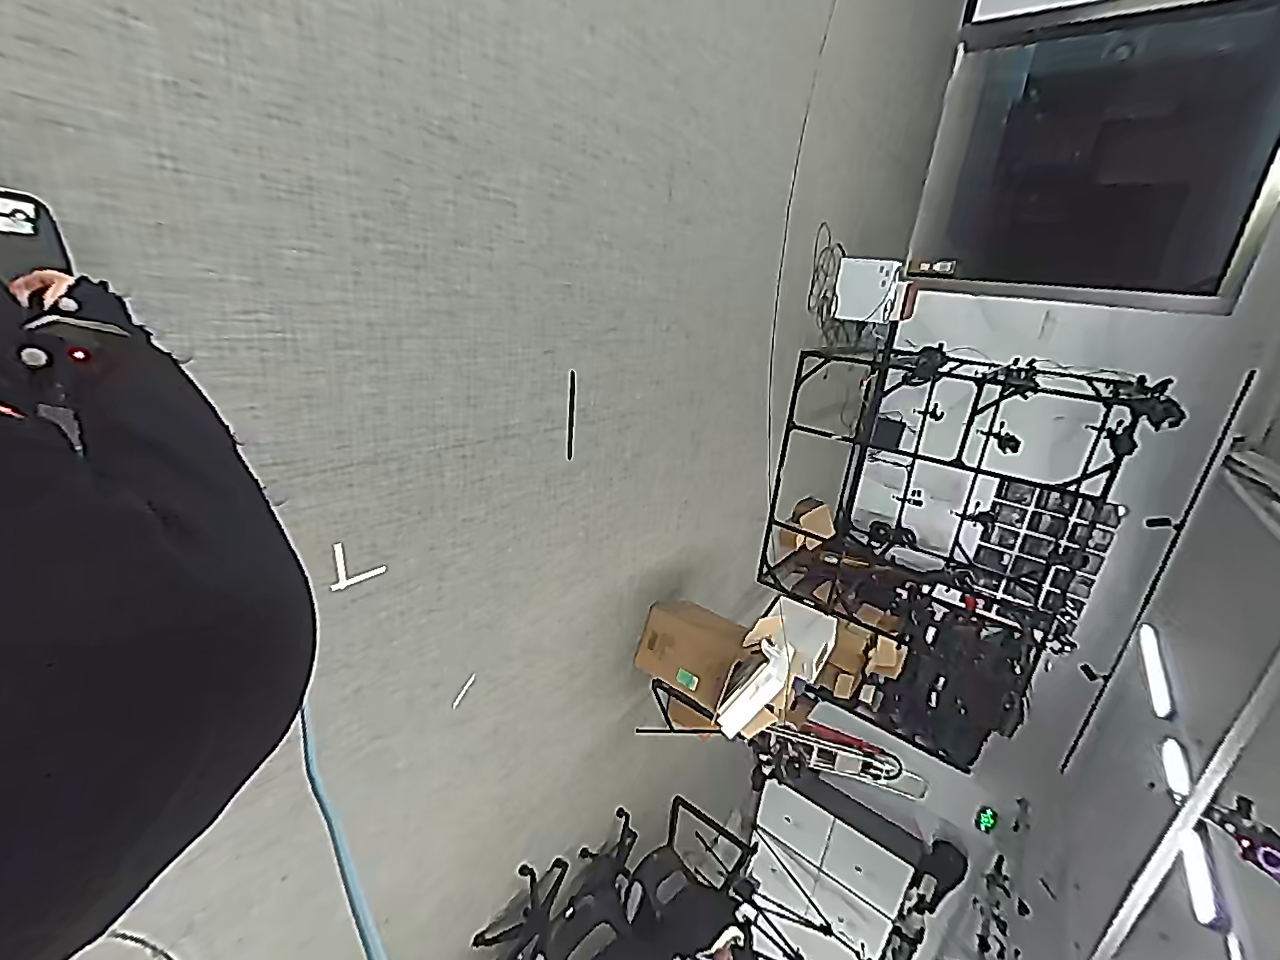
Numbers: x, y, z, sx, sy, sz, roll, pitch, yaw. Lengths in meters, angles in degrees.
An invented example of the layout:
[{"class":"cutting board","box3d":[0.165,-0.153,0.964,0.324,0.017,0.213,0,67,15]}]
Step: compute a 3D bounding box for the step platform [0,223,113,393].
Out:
[{"class":"step platform","box3d":[-1.244,-0.279,0.786,0.684,0.204,0.286,-12,115,-53]}]
